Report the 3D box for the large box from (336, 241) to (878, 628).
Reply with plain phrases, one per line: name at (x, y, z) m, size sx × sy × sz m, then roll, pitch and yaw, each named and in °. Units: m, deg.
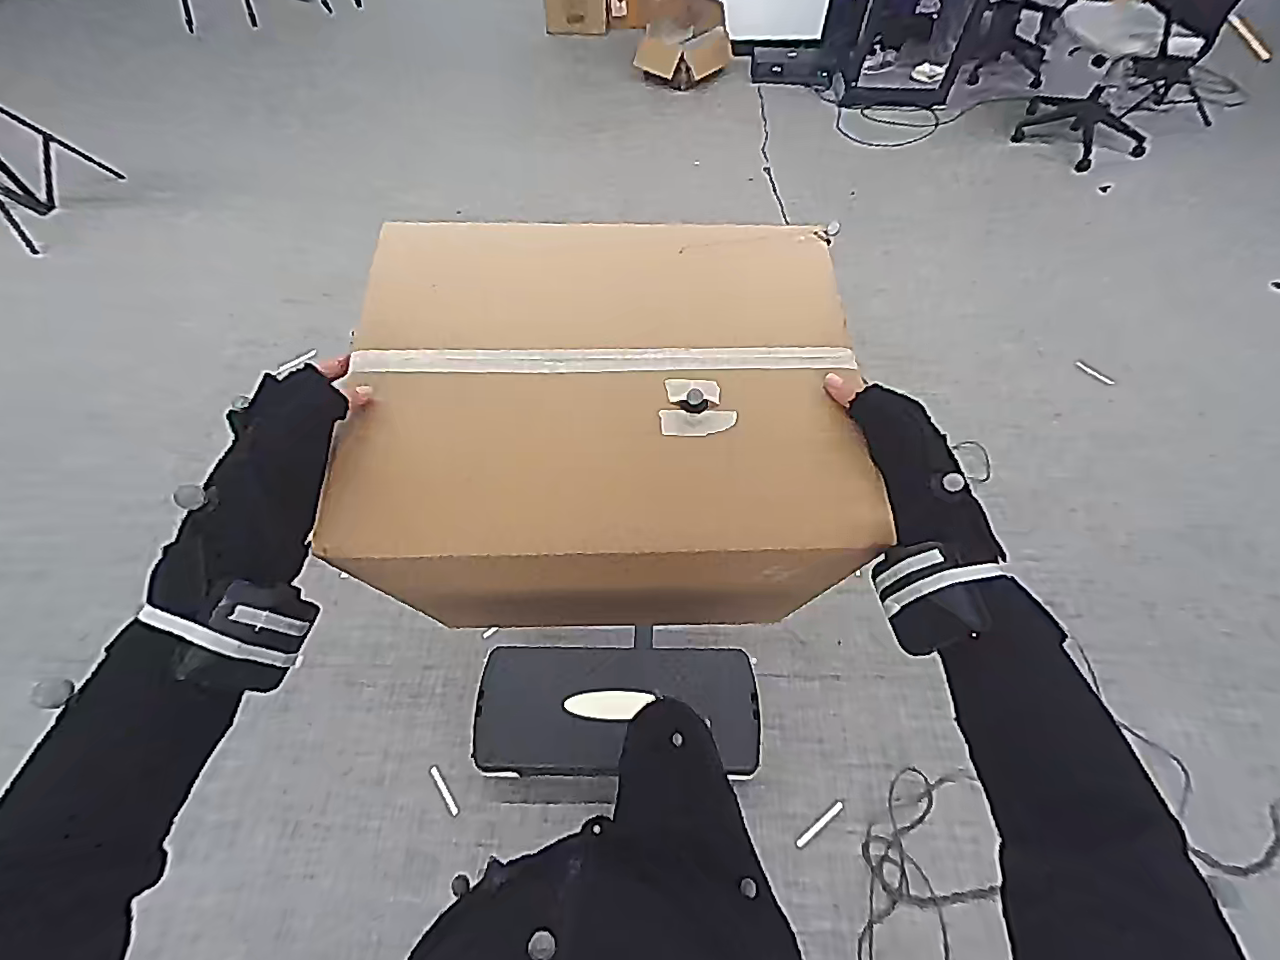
large box at (-0.031, -0.027, 0.587) m, size 0.408 × 0.320 × 0.320 m, roll 0°, pitch 66°, yaw -2°
